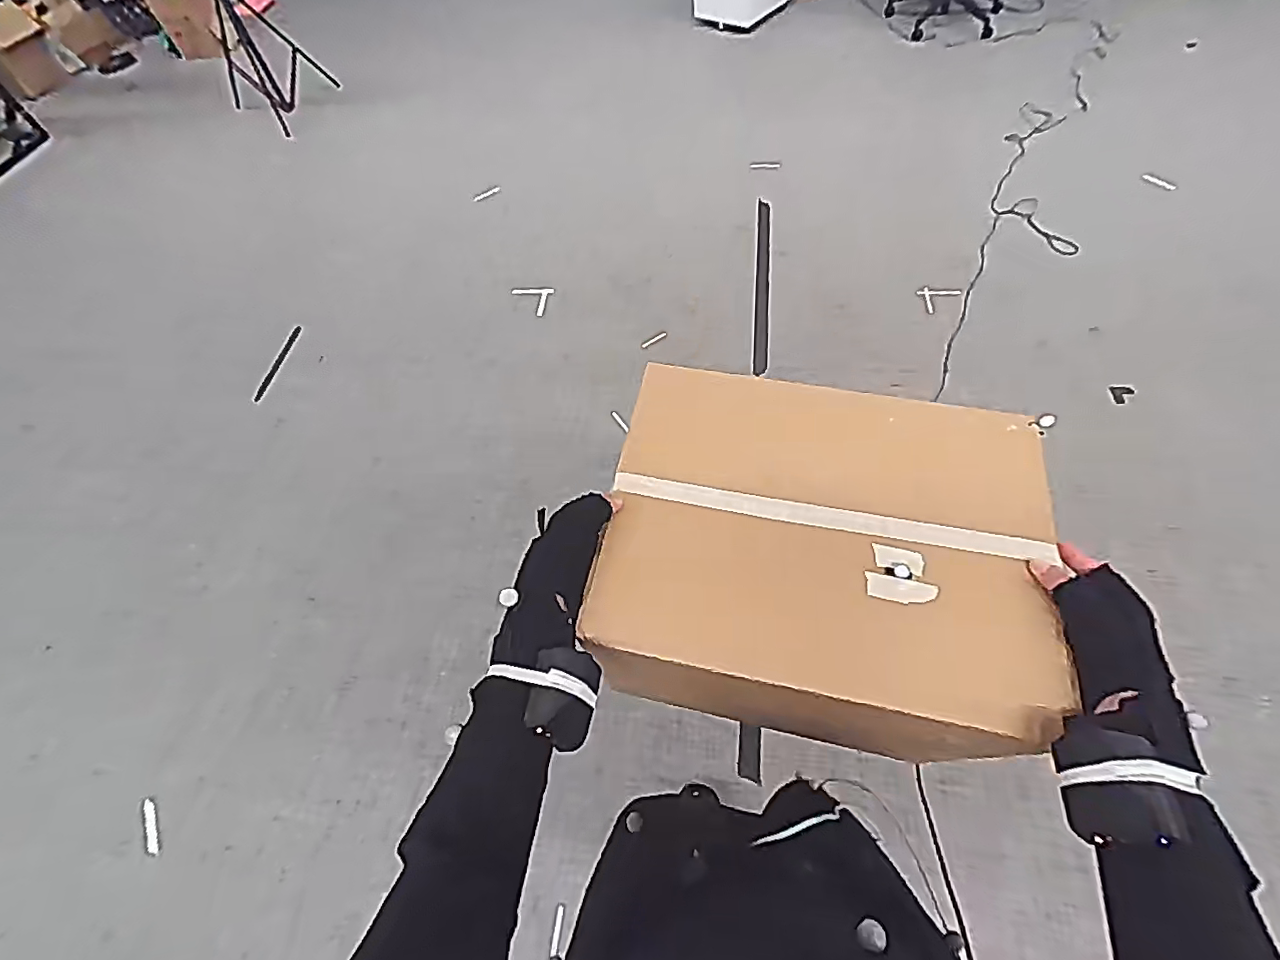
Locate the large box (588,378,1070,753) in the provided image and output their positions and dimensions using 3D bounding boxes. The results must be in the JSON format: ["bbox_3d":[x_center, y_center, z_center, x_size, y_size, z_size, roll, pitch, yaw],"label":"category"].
[{"bbox_3d":[0.179,0.115,0.648,0.408,0.320,0.320,10,63,8],"label":"large box"}]
